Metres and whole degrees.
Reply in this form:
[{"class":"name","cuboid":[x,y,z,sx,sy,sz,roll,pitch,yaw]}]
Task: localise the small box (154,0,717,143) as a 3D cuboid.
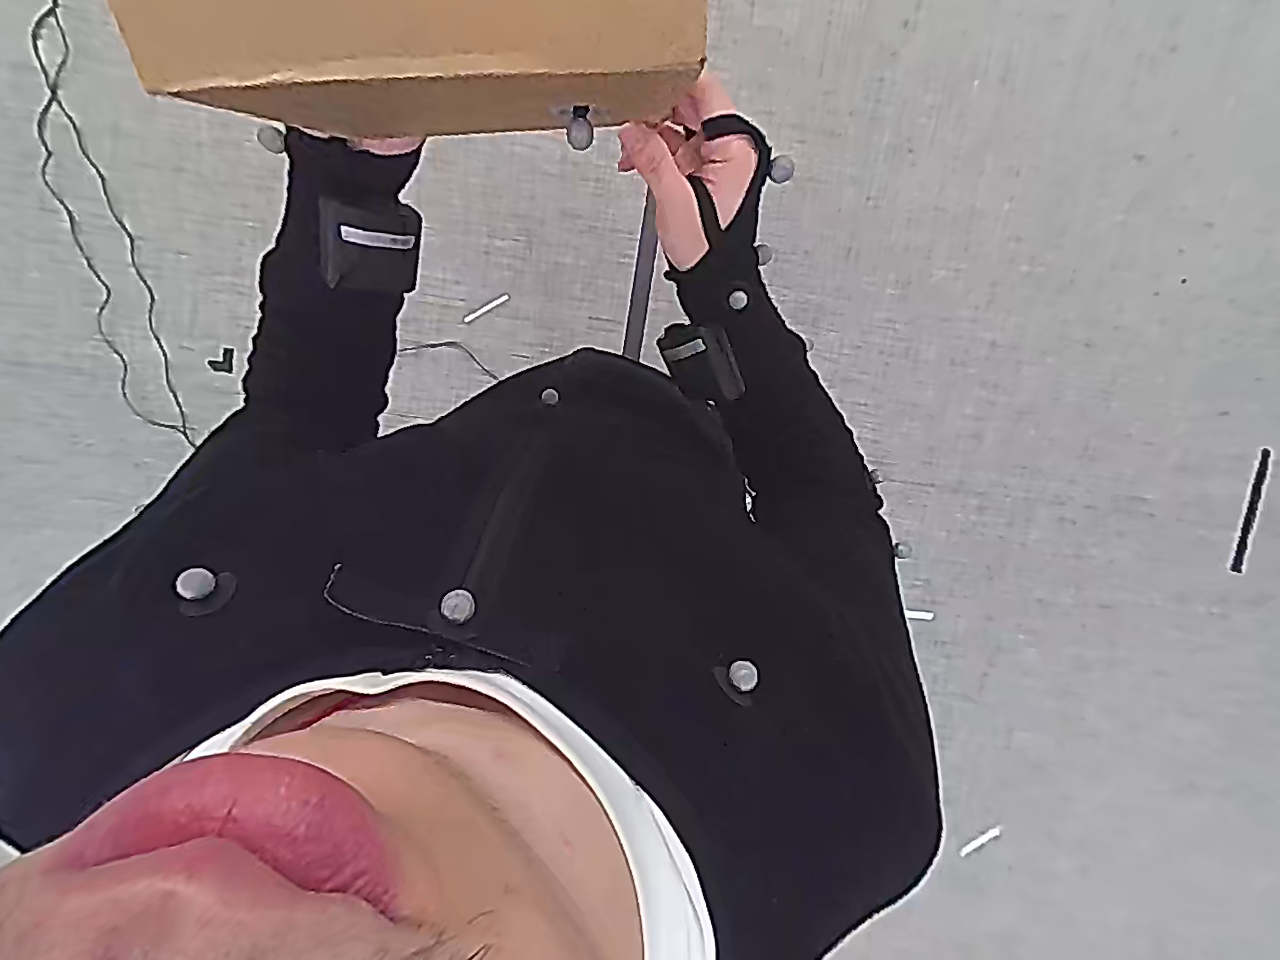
[{"class":"small box","cuboid":[-0.071,-0.239,0.212,0.179,0.176,0.168,-5,118,-2]}]
